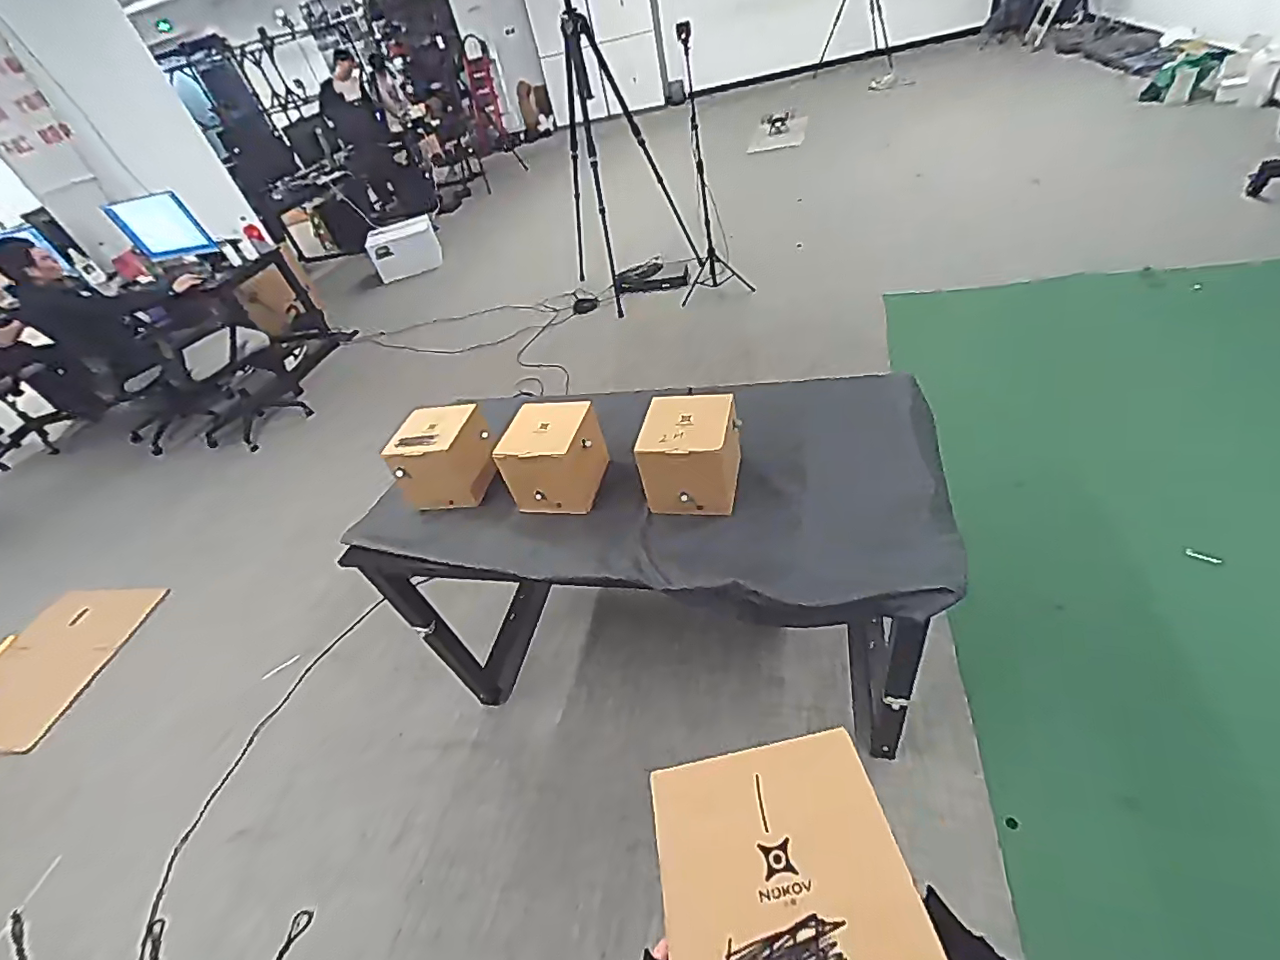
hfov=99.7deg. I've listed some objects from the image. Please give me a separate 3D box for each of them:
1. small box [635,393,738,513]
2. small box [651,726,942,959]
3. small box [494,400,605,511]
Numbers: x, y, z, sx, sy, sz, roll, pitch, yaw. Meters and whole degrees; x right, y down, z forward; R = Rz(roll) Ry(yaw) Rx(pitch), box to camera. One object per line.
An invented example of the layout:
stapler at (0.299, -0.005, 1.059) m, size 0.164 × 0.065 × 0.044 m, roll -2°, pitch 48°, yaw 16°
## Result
small box at (0.102, -0.056, 1.079) m, size 0.168 × 0.176 × 0.179 m, roll 1°, pitch 44°, yaw 18°
small box at (0.114, 0.328, 0.416) m, size 0.168 × 0.176 × 0.179 m, roll -15°, pitch 35°, yaw 4°
small box at (-0.183, -0.056, 1.167) m, size 0.168 × 0.176 × 0.179 m, roll 1°, pitch 45°, yaw 17°
